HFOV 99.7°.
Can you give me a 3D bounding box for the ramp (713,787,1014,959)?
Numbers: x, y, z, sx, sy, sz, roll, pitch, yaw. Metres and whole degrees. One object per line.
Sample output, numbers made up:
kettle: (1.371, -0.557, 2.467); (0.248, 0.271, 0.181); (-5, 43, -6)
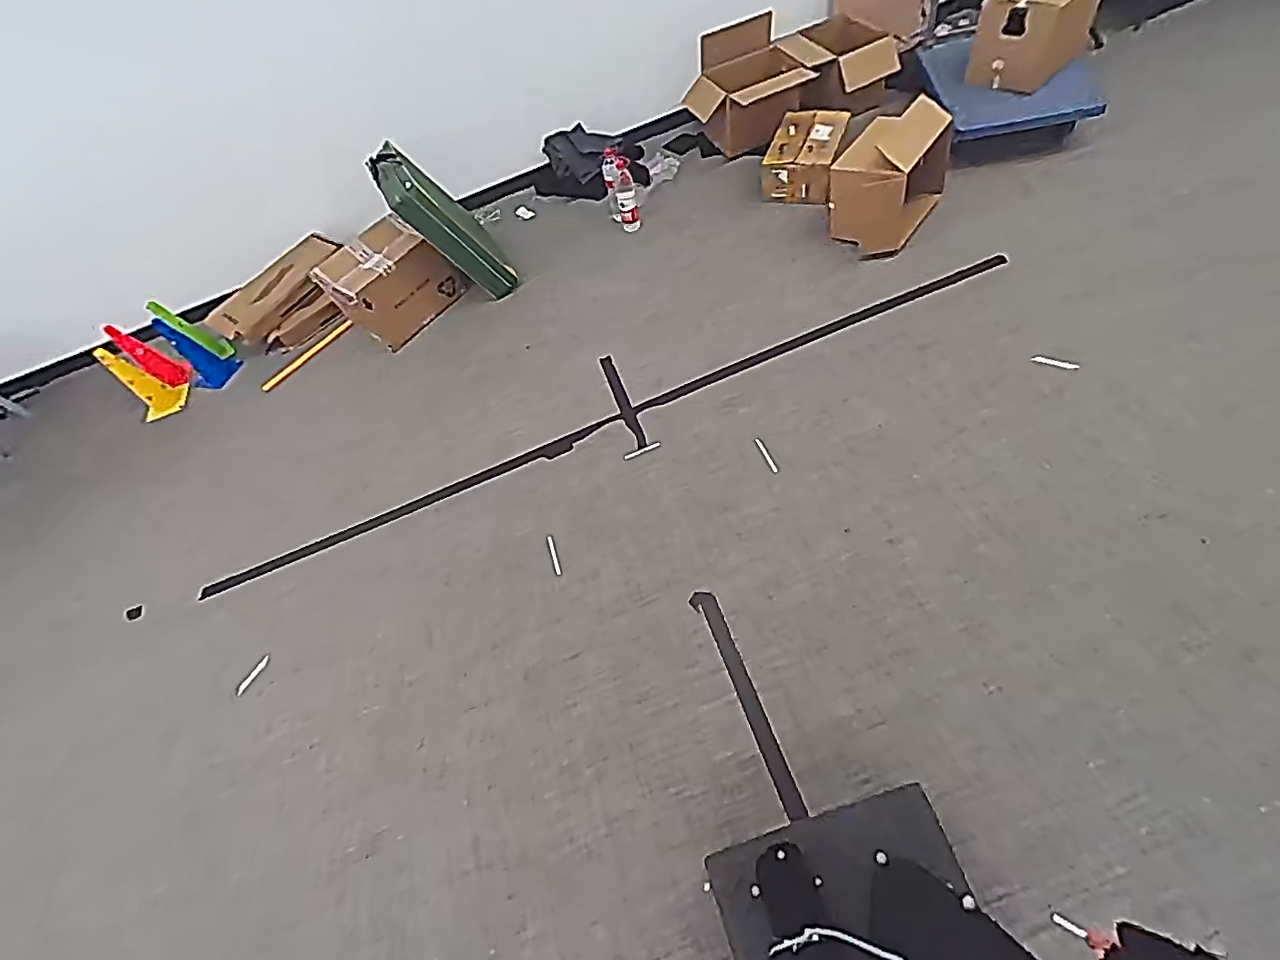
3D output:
ramp: (0.545, 1.153, 0.936); (0.509, 0.206, 0.991); (-23, 55, -2)
